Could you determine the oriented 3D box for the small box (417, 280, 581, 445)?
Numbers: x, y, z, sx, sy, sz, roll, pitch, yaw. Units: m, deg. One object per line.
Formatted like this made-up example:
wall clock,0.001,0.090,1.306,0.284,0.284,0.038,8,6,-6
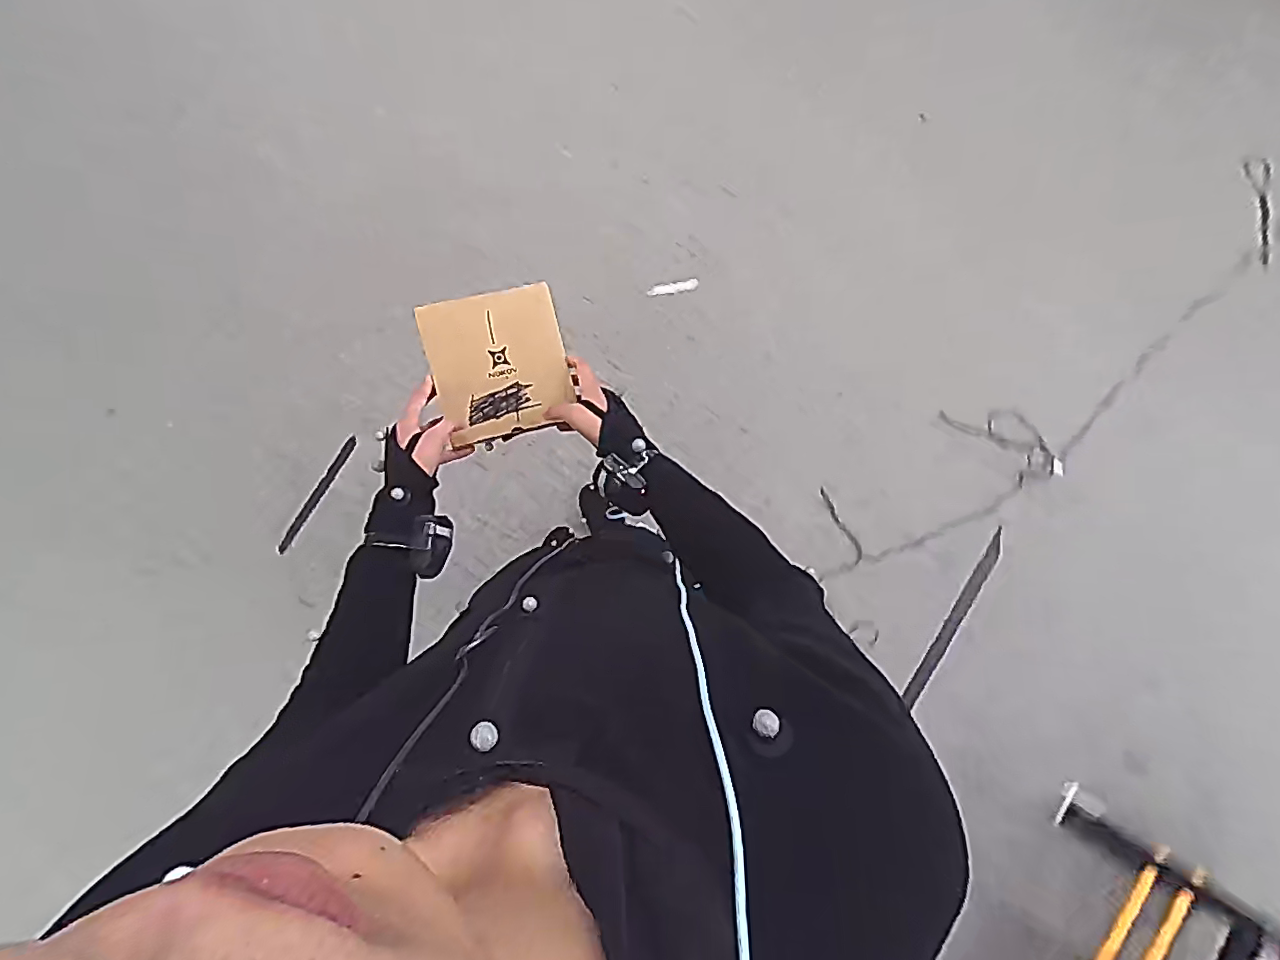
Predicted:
small box,-0.183,-0.153,0.740,0.168,0.176,0.179,-14,97,-9
